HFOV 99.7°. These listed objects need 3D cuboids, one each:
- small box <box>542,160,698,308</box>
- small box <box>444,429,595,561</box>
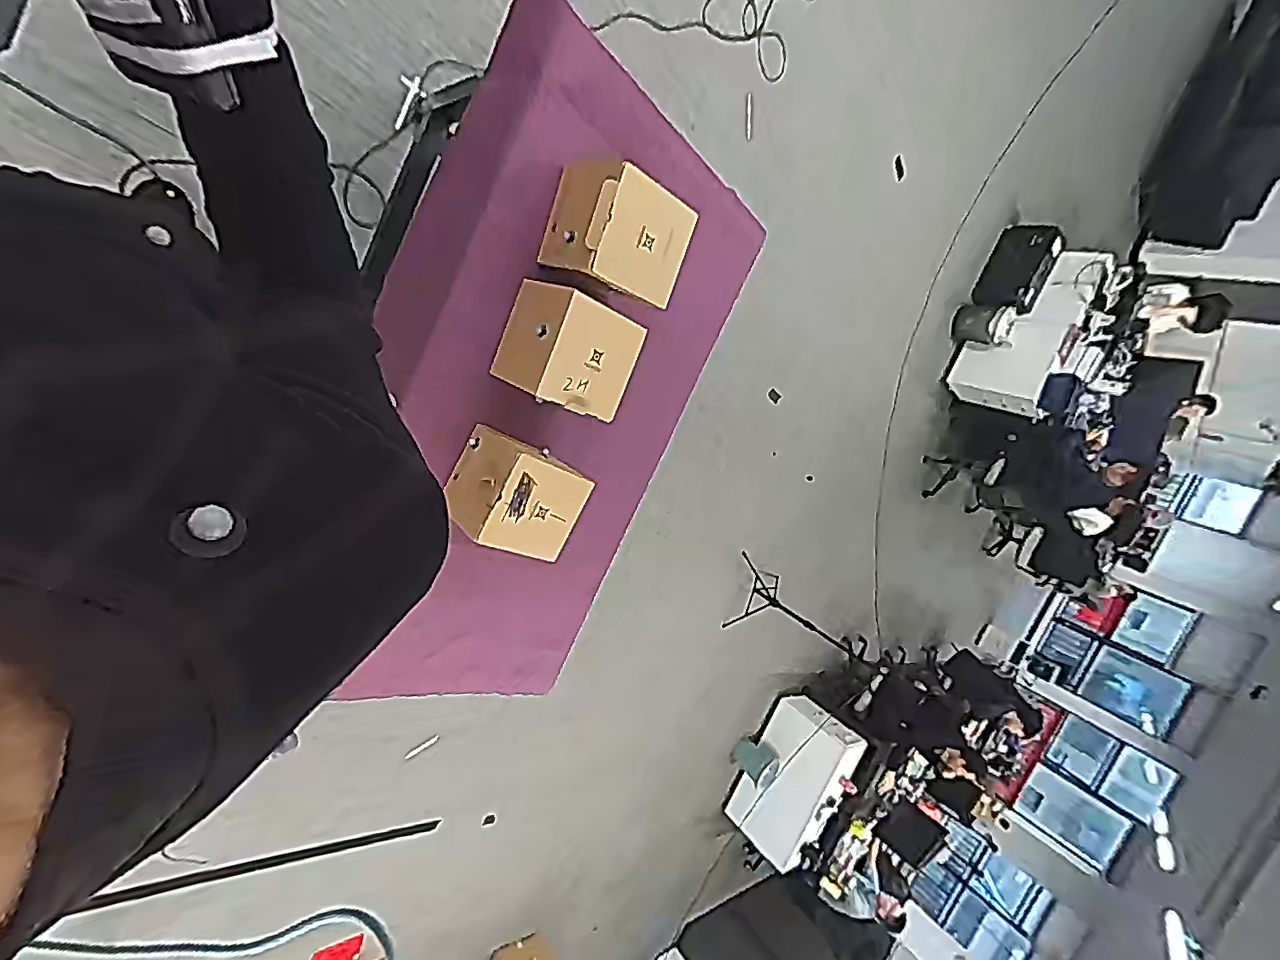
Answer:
[{"bbox_3d":[-0.039,-0.410,0.917,0.179,0.176,0.168,10,105,-45],"label":"small box"},{"bbox_3d":[-0.222,0.022,0.975,0.179,0.176,0.168,26,93,-47],"label":"small box"}]
